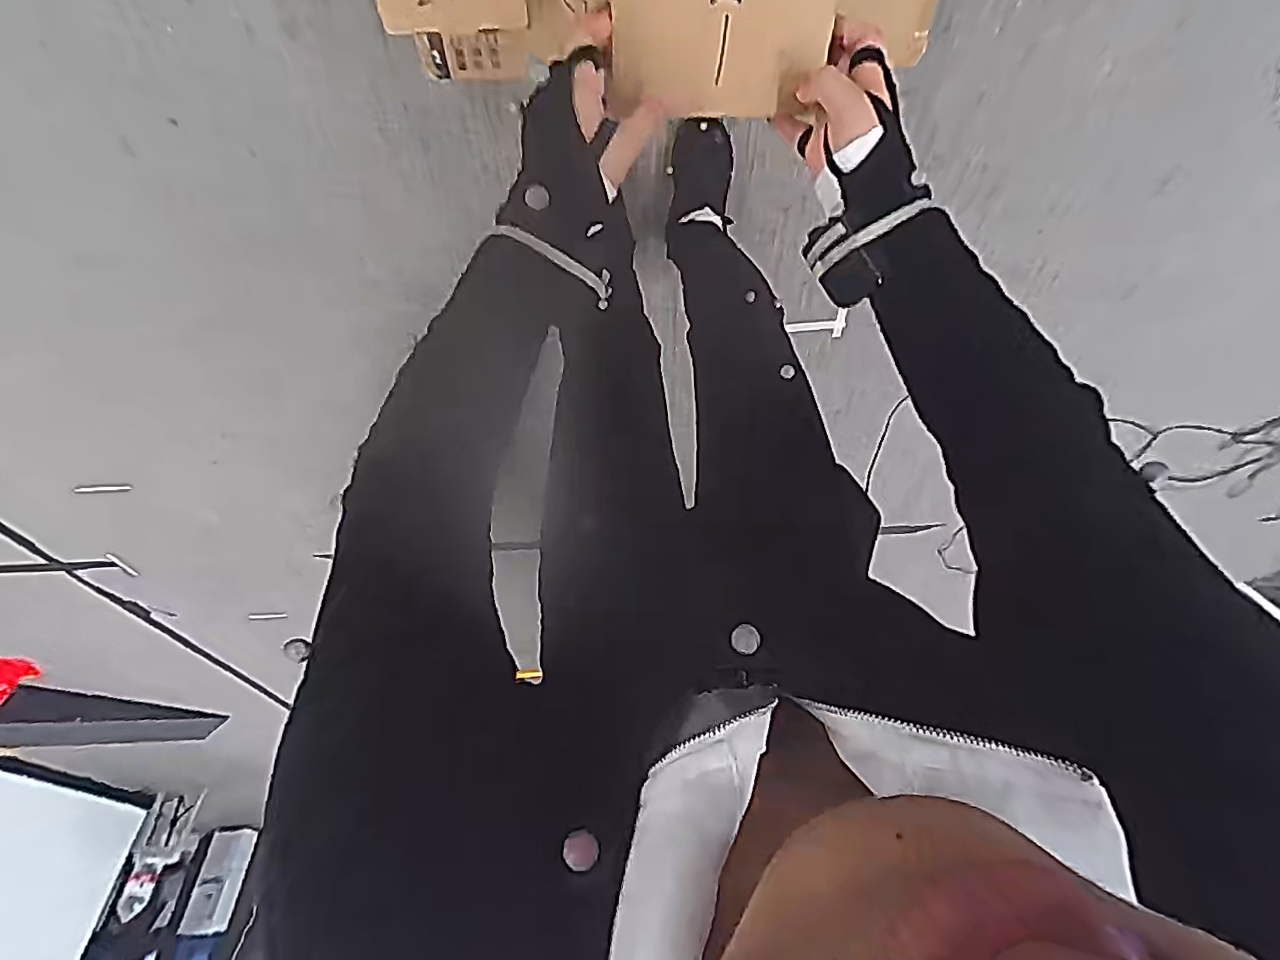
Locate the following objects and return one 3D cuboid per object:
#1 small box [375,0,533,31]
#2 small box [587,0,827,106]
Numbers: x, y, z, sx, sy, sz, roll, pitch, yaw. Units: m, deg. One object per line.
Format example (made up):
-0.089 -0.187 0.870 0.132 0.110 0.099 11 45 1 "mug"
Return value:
-0.217 -0.631 0.603 0.168 0.176 0.179 -4 140 -2 "small box"
0.044 -0.414 0.430 0.168 0.176 0.179 -5 132 -7 "small box"
